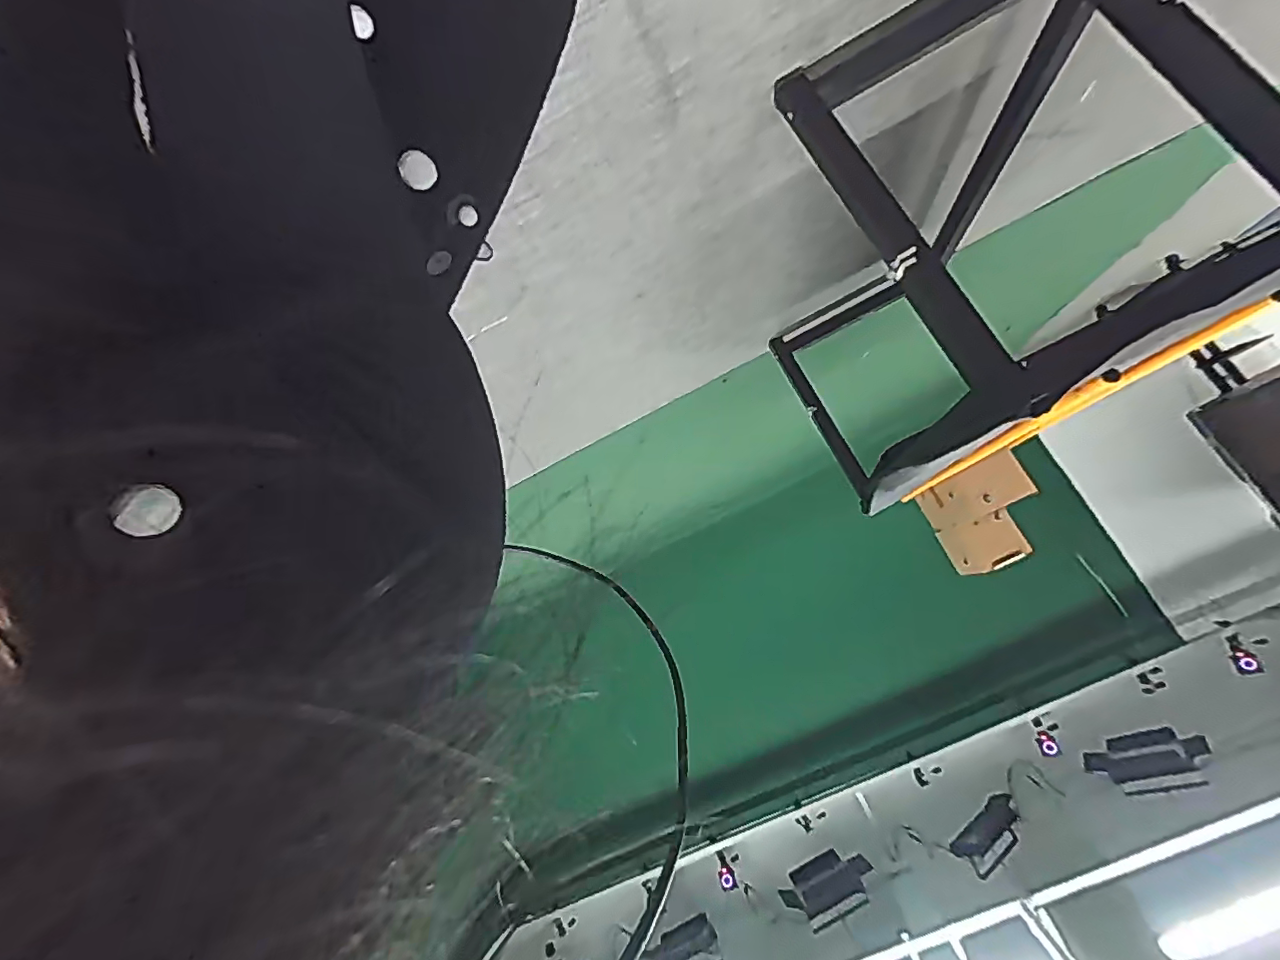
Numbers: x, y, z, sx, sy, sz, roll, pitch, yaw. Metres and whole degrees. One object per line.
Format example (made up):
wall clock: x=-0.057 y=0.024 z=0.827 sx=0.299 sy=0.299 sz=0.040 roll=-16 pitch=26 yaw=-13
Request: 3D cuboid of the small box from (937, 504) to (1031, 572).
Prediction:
small box: x=1.111 y=0.184 z=1.768 sx=0.168 sy=0.176 sz=0.179 roll=-26 pitch=165 yaw=2

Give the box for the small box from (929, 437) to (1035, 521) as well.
small box: x=0.993 y=-0.002 z=1.592 sx=0.179 sy=0.176 sz=0.168 roll=-27 pitch=165 yaw=4
